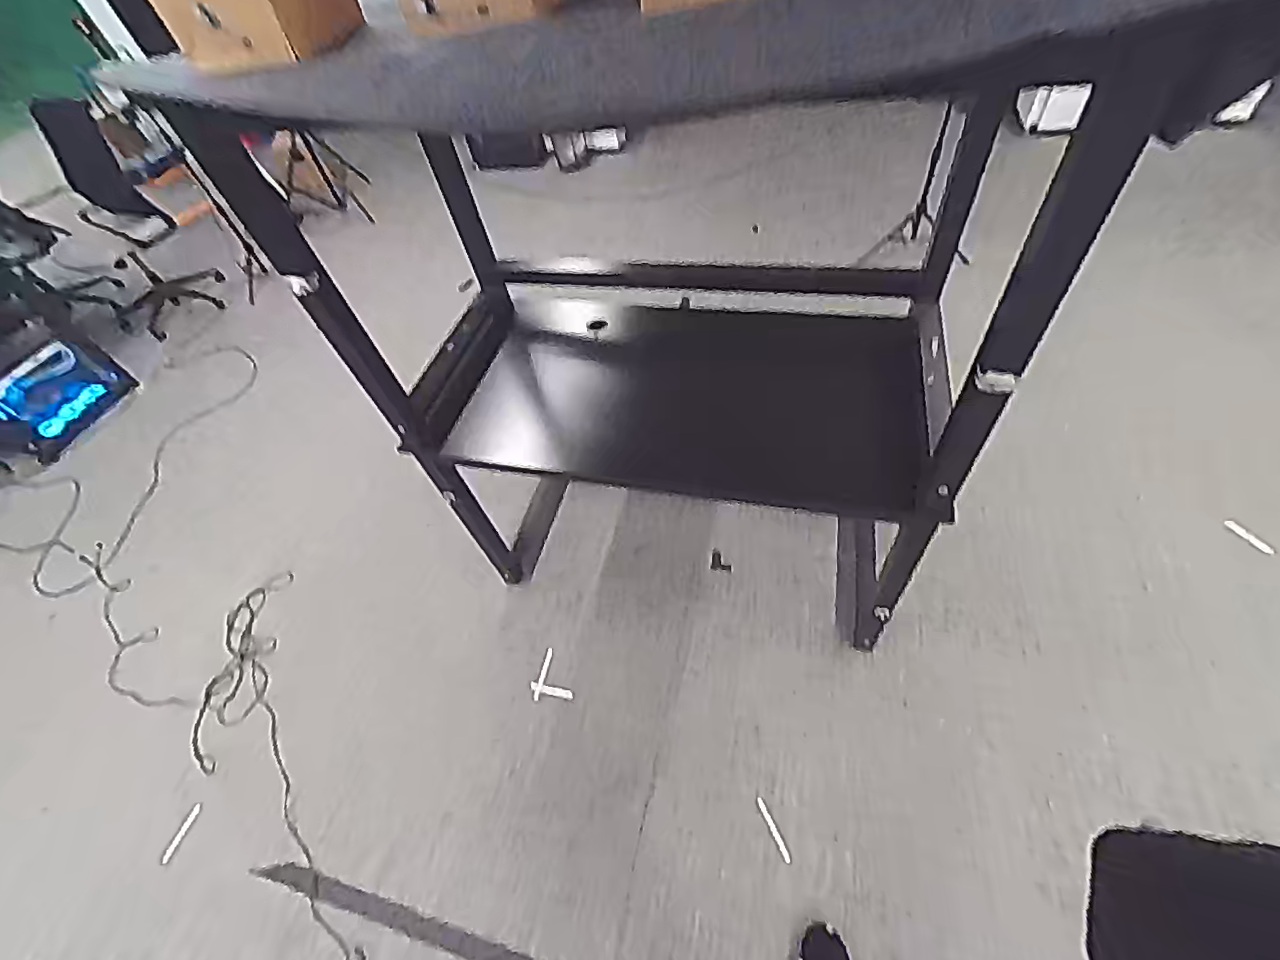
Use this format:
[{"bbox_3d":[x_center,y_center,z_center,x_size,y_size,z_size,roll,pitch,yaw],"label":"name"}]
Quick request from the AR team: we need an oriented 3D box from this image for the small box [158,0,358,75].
[{"bbox_3d":[-0.491,-0.635,0.675,0.168,0.176,0.179,4,54,12],"label":"small box"}]
